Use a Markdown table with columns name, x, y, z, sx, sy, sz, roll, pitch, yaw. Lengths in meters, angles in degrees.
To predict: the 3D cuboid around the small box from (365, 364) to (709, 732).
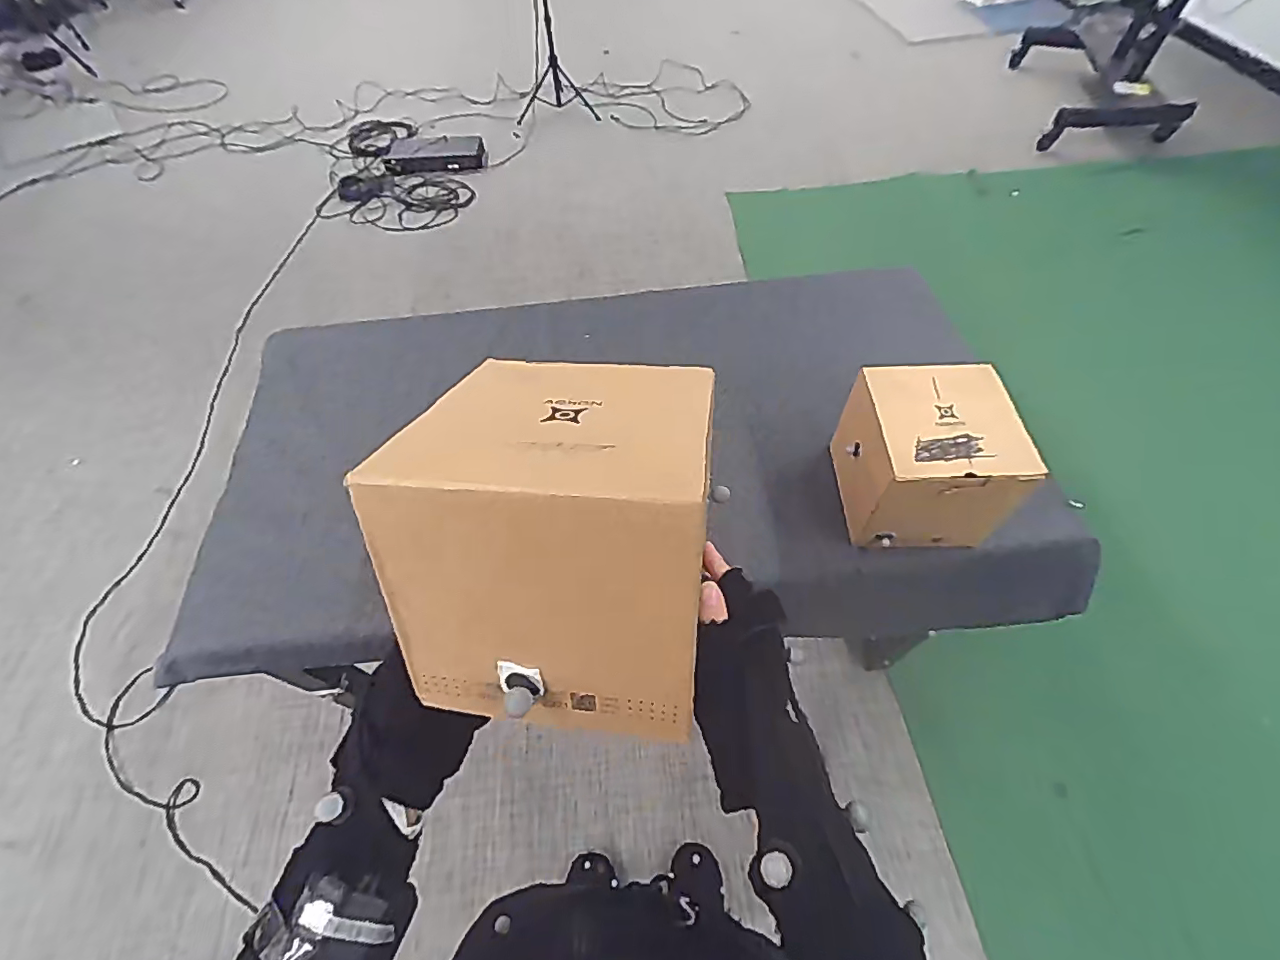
| name | x | y | z | sx | sy | sz | roll | pitch | yaw |
| --- | --- | --- | --- | --- | --- | --- | --- | --- | --- |
| small box | -0.043 | 0.033 | 0.362 | 0.168 | 0.176 | 0.179 | 3 | 32 | 7 |

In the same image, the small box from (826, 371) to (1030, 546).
| name | x | y | z | sx | sy | sz | roll | pitch | yaw |
| --- | --- | --- | --- | --- | --- | --- | --- | --- | --- |
| small box | 0.361 | -0.023 | 0.718 | 0.168 | 0.176 | 0.179 | 0 | 55 | 2 |
